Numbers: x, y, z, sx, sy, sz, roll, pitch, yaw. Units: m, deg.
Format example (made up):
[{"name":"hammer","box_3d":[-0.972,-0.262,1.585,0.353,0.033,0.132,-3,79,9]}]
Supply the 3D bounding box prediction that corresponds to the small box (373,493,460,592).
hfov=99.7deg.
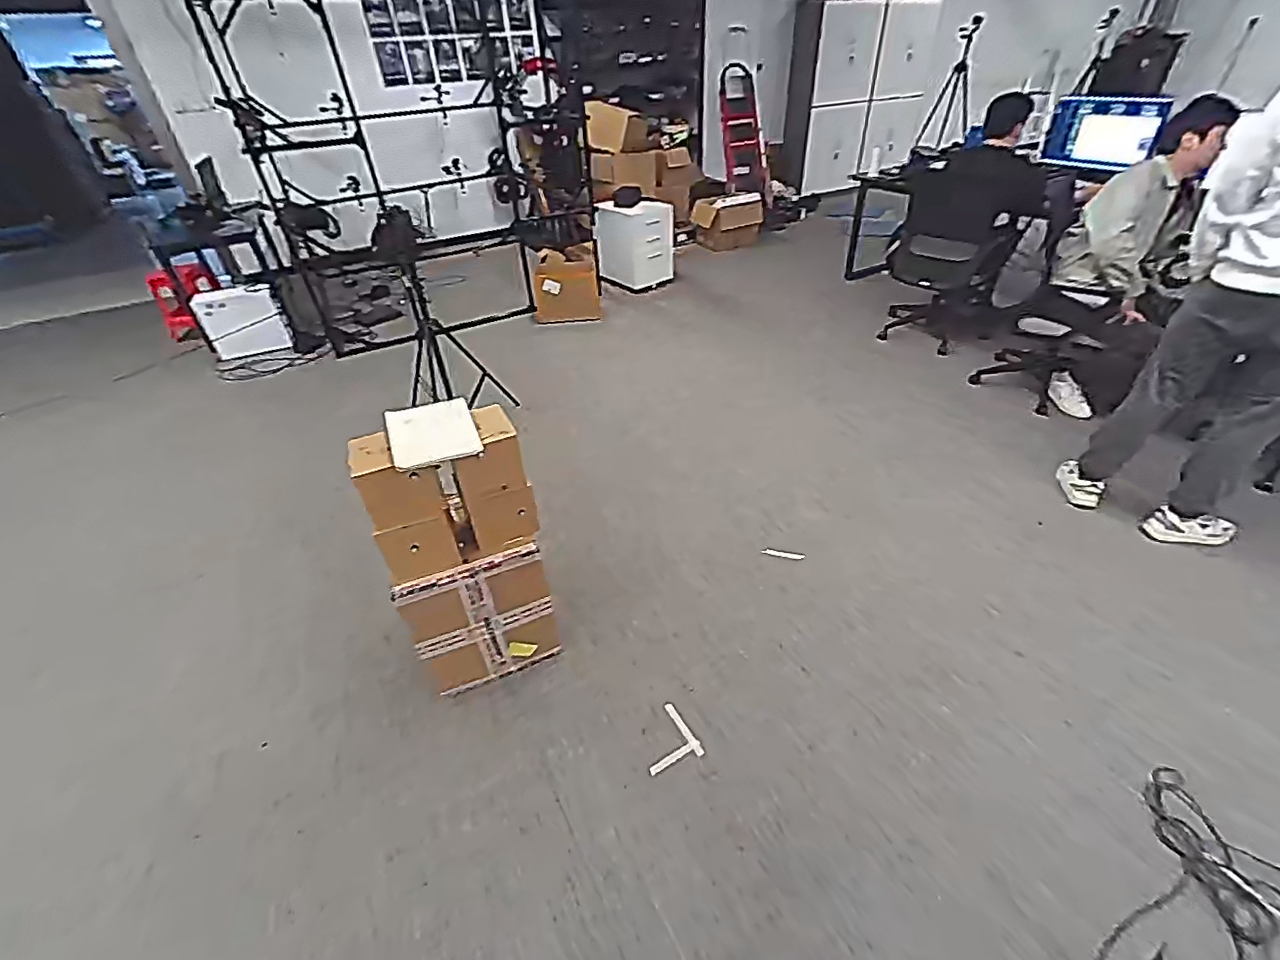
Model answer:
[{"name":"small box","box_3d":[-0.588,0.166,1.435,0.179,0.176,0.168,-16,41,-14]}]

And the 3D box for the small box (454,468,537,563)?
[{"name":"small box","box_3d":[-0.397,0.098,1.508,0.179,0.176,0.168,-21,42,-21]}]
